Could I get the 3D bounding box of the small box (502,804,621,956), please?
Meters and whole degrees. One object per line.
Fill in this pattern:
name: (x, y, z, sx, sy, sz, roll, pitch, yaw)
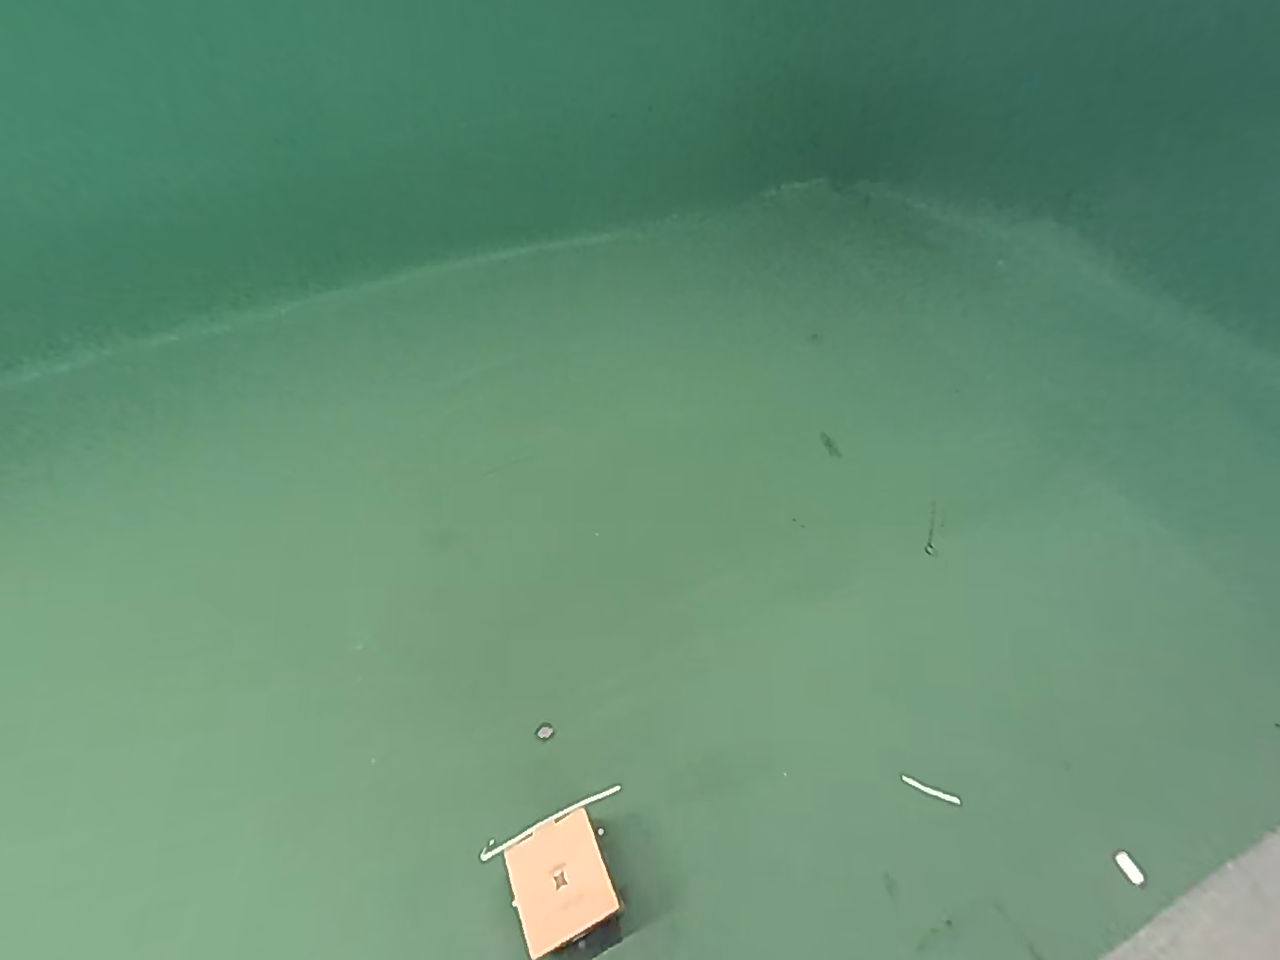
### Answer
small box: (-0.146, 0.763, 1.036, 0.168, 0.176, 0.179, -22, 54, -14)
